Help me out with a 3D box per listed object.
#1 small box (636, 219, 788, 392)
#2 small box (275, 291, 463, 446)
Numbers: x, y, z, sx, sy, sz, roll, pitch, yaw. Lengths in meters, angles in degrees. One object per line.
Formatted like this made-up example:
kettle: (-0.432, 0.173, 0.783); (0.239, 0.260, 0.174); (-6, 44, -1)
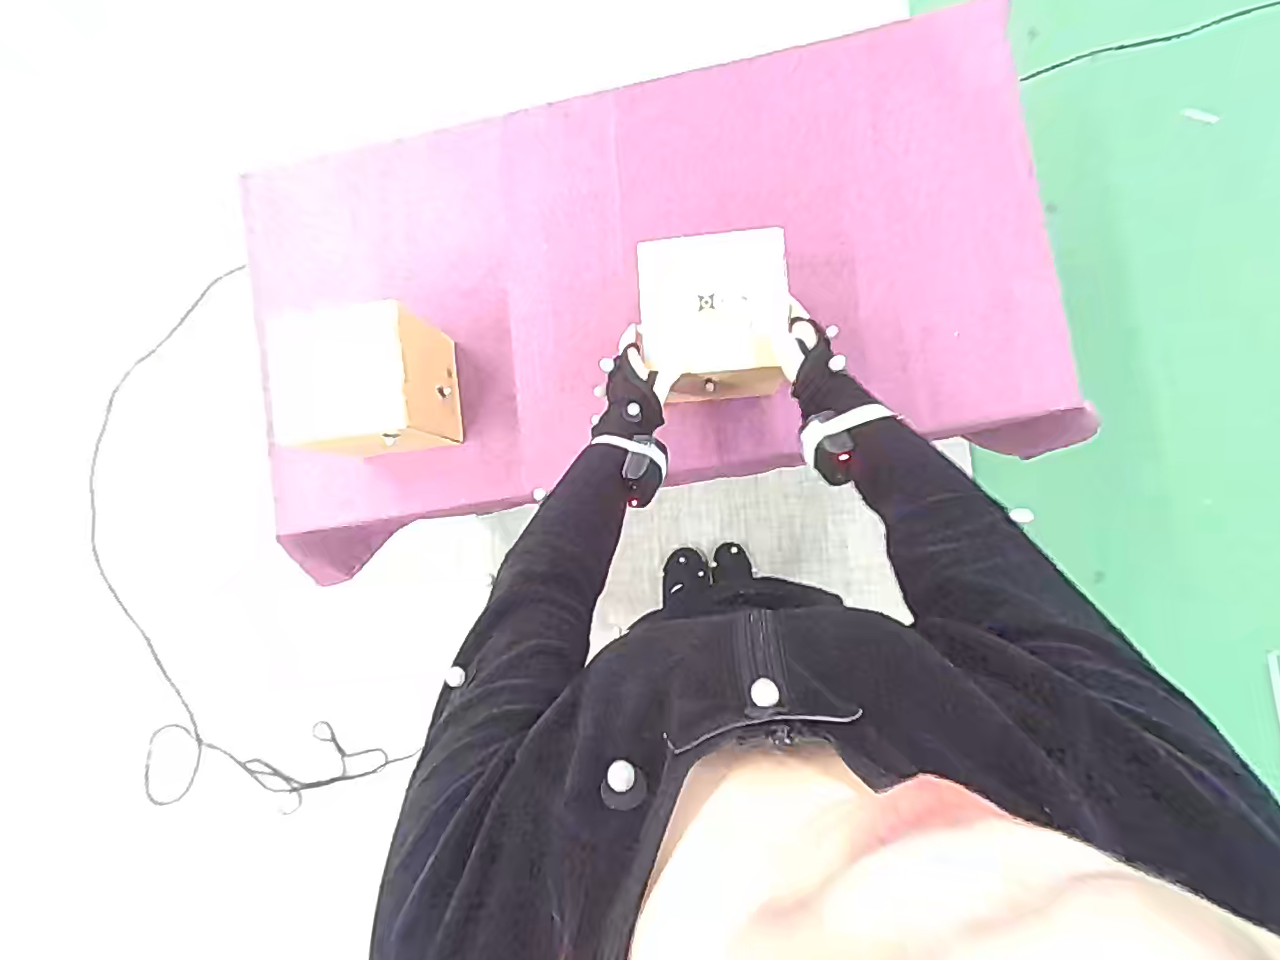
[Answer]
small box: (0.094, -0.217, 0.718); (0.179, 0.176, 0.168); (-3, 88, 7)
small box: (-0.376, -0.146, 0.772); (0.179, 0.176, 0.168); (-7, 86, 6)
